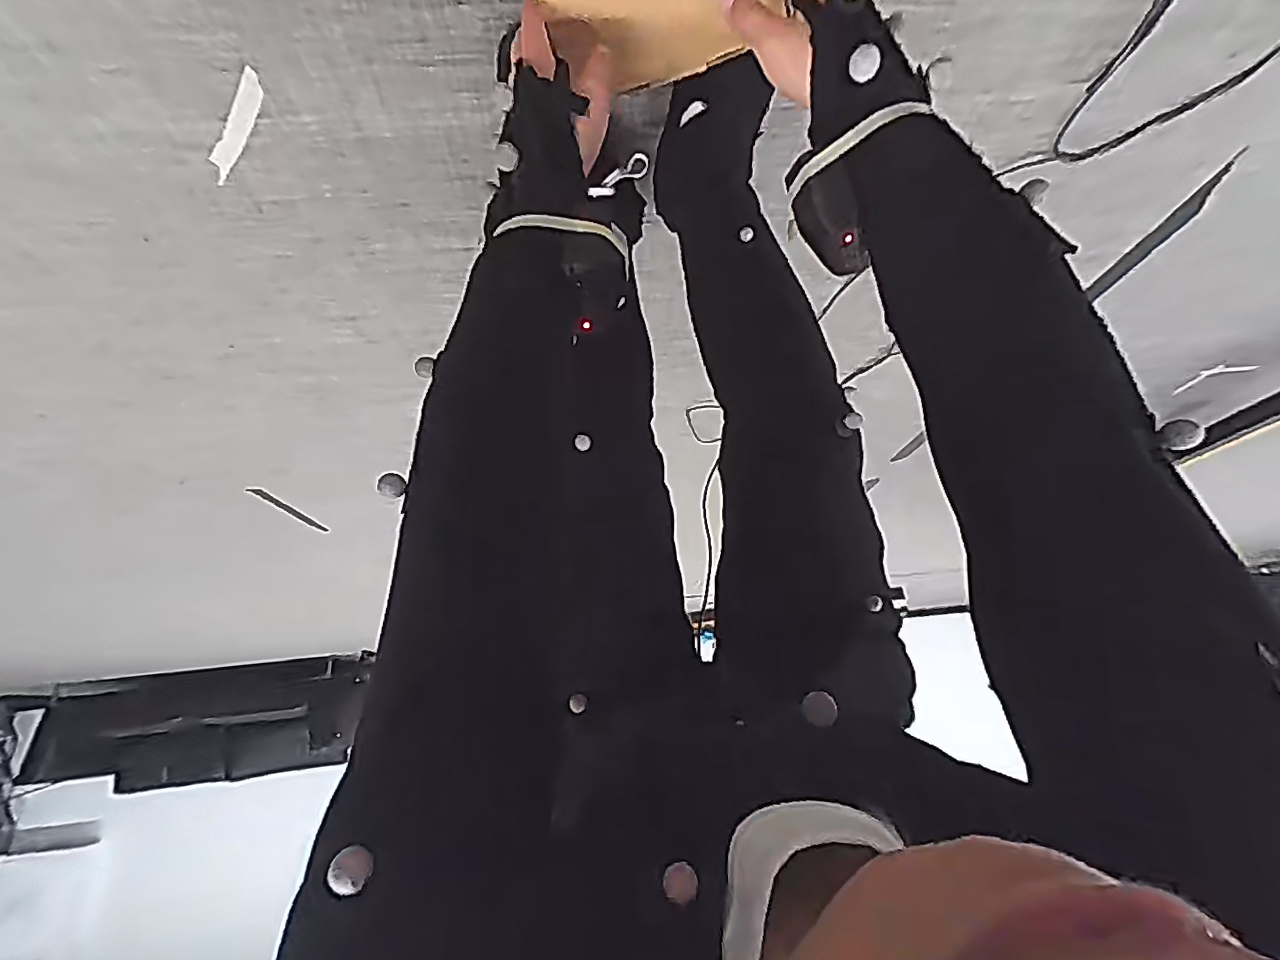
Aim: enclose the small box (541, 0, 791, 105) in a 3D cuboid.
[{"bbox_3d":[0.001,-0.416,0.370,0.168,0.176,0.179,-11,151,15],"label":"small box"}]
